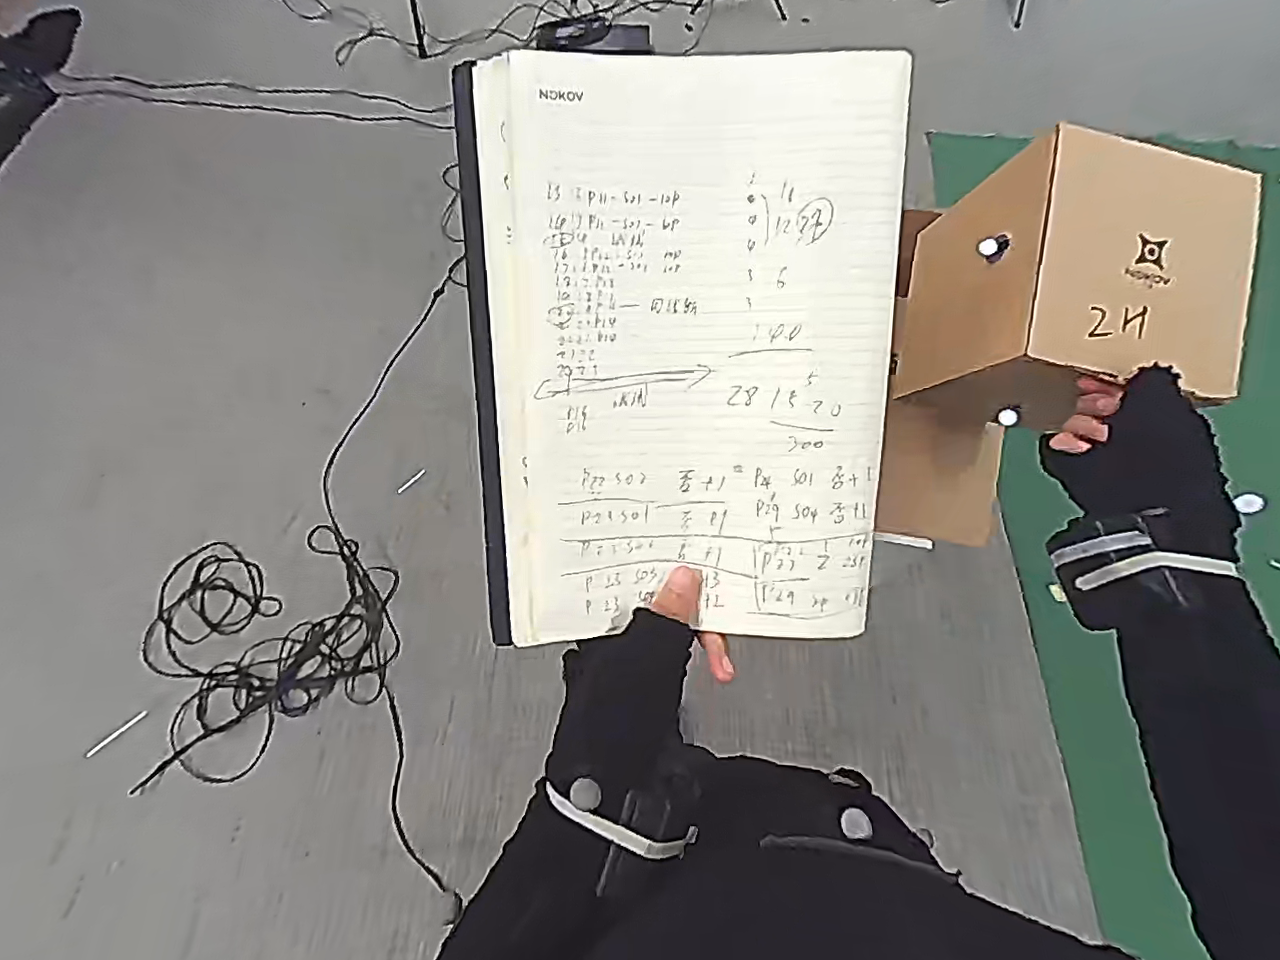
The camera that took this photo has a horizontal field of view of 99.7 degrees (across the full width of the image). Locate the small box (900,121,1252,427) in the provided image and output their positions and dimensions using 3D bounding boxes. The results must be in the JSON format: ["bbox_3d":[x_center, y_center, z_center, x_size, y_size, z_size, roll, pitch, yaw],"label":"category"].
[{"bbox_3d":[0.354,-0.156,0.471,0.168,0.176,0.179,11,86,-5],"label":"small box"}]
